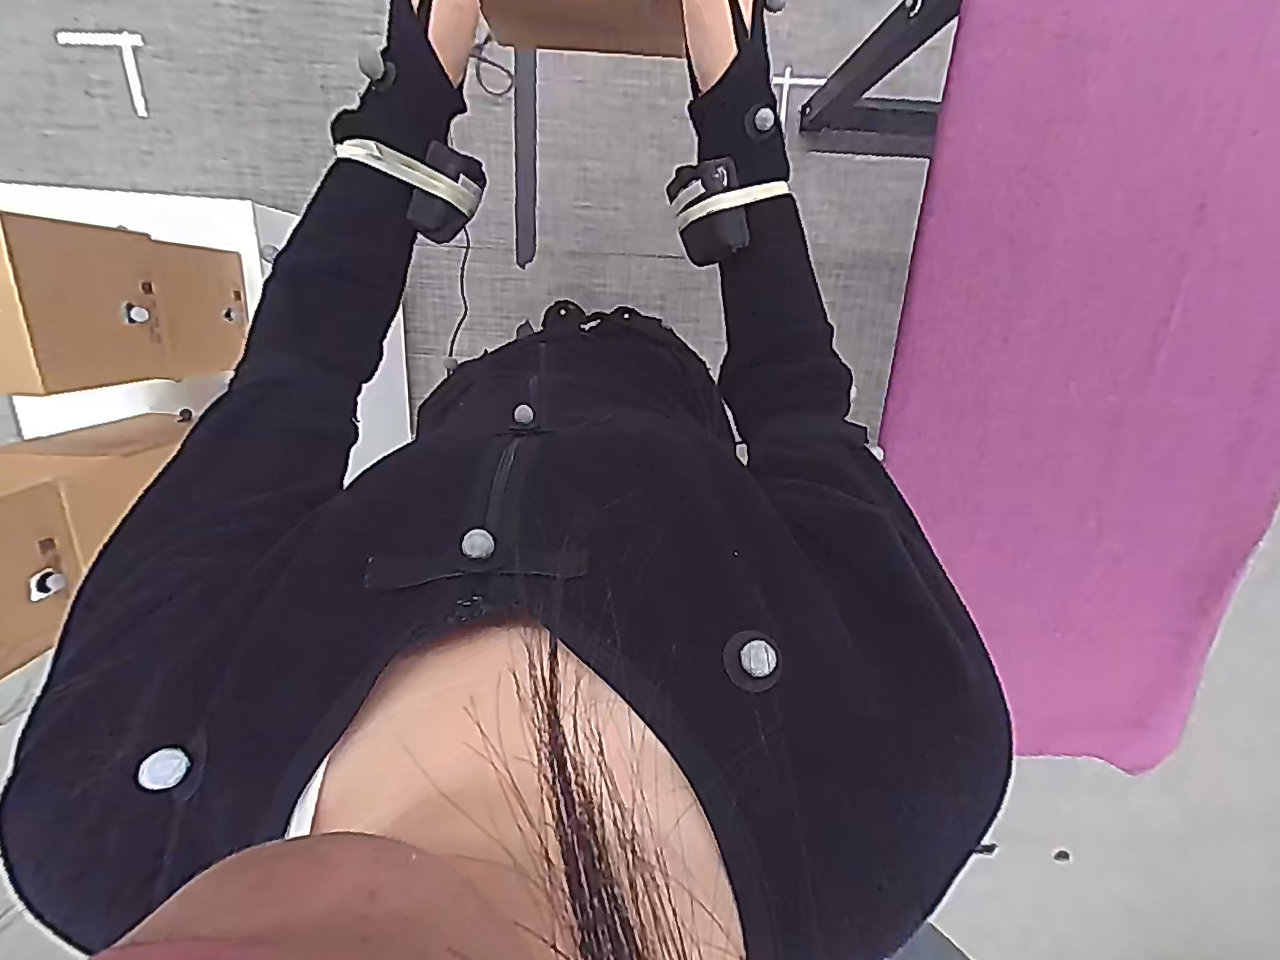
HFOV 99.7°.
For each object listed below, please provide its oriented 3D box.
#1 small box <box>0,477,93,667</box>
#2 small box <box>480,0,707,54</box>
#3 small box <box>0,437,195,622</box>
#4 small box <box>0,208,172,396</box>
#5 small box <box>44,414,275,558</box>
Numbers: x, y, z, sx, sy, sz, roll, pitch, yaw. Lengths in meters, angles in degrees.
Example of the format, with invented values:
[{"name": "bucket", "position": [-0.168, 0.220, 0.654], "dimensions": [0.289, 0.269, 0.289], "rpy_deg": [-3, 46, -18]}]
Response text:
[{"name": "small box", "position": [-0.663, 0.096, 0.476], "dimensions": [0.179, 0.176, 0.168], "rpy_deg": [1, 108, -4]}, {"name": "small box", "position": [-0.030, -0.425, 0.371], "dimensions": [0.179, 0.176, 0.168], "rpy_deg": [3, 108, -2]}, {"name": "small box", "position": [-0.668, 0.049, 0.631], "dimensions": [0.179, 0.176, 0.168], "rpy_deg": [2, 108, -3]}, {"name": "small box", "position": [-0.645, -0.187, 0.555], "dimensions": [0.179, 0.176, 0.168], "rpy_deg": [4, 108, -5]}, {"name": "small box", "position": [-0.678, 0.000, 0.787], "dimensions": [0.179, 0.176, 0.168], "rpy_deg": [3, 107, -3]}]
